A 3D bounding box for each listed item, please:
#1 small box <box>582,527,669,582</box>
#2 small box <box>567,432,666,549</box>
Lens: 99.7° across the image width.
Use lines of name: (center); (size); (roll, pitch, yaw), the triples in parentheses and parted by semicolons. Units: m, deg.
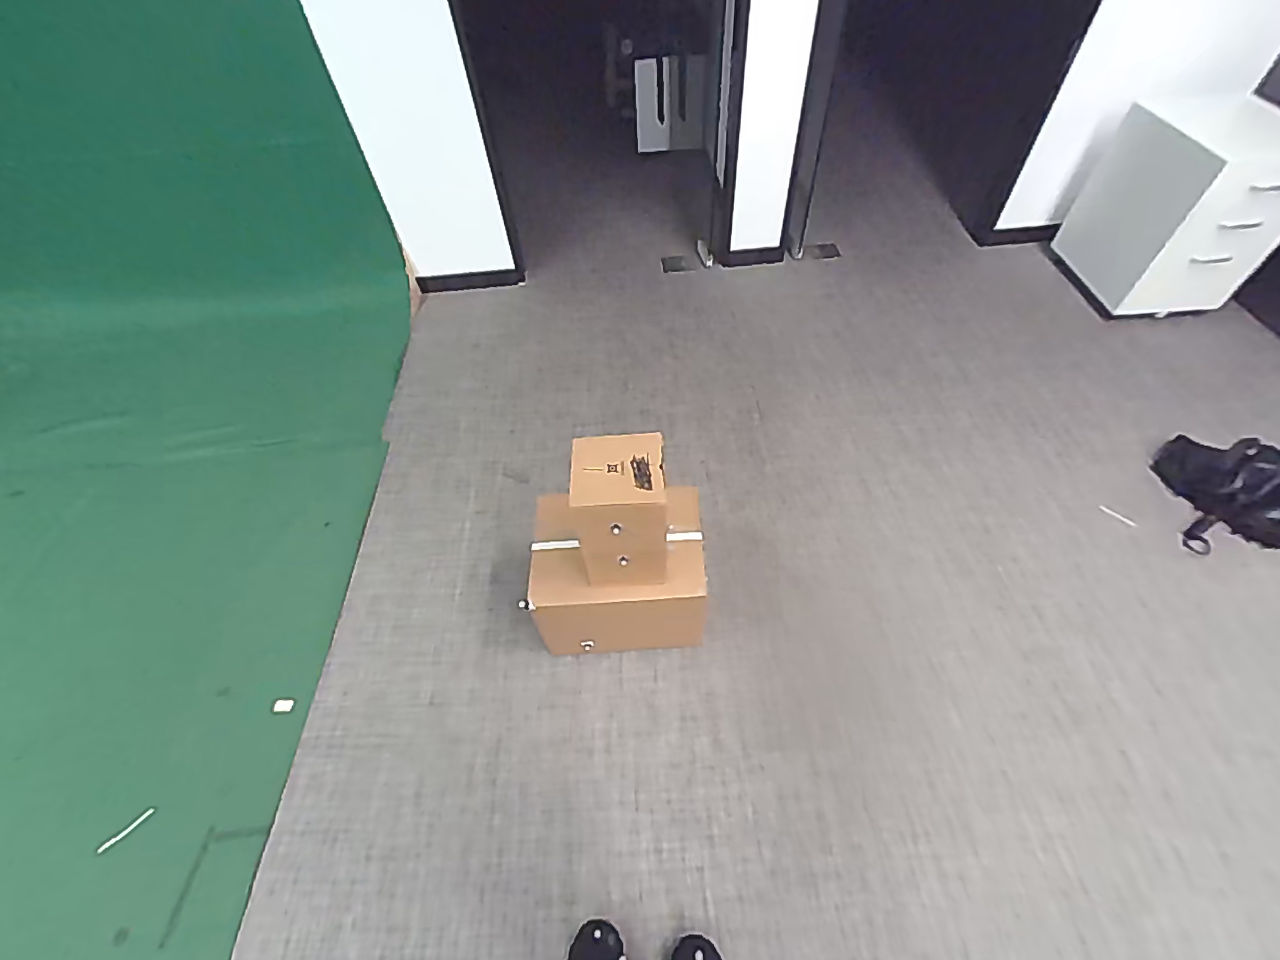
small box: (-0.029, 0.118, 1.203); (0.179, 0.176, 0.168); (-4, 54, 0)
small box: (-0.039, 0.025, 1.068); (0.179, 0.176, 0.168); (-4, 54, 3)
